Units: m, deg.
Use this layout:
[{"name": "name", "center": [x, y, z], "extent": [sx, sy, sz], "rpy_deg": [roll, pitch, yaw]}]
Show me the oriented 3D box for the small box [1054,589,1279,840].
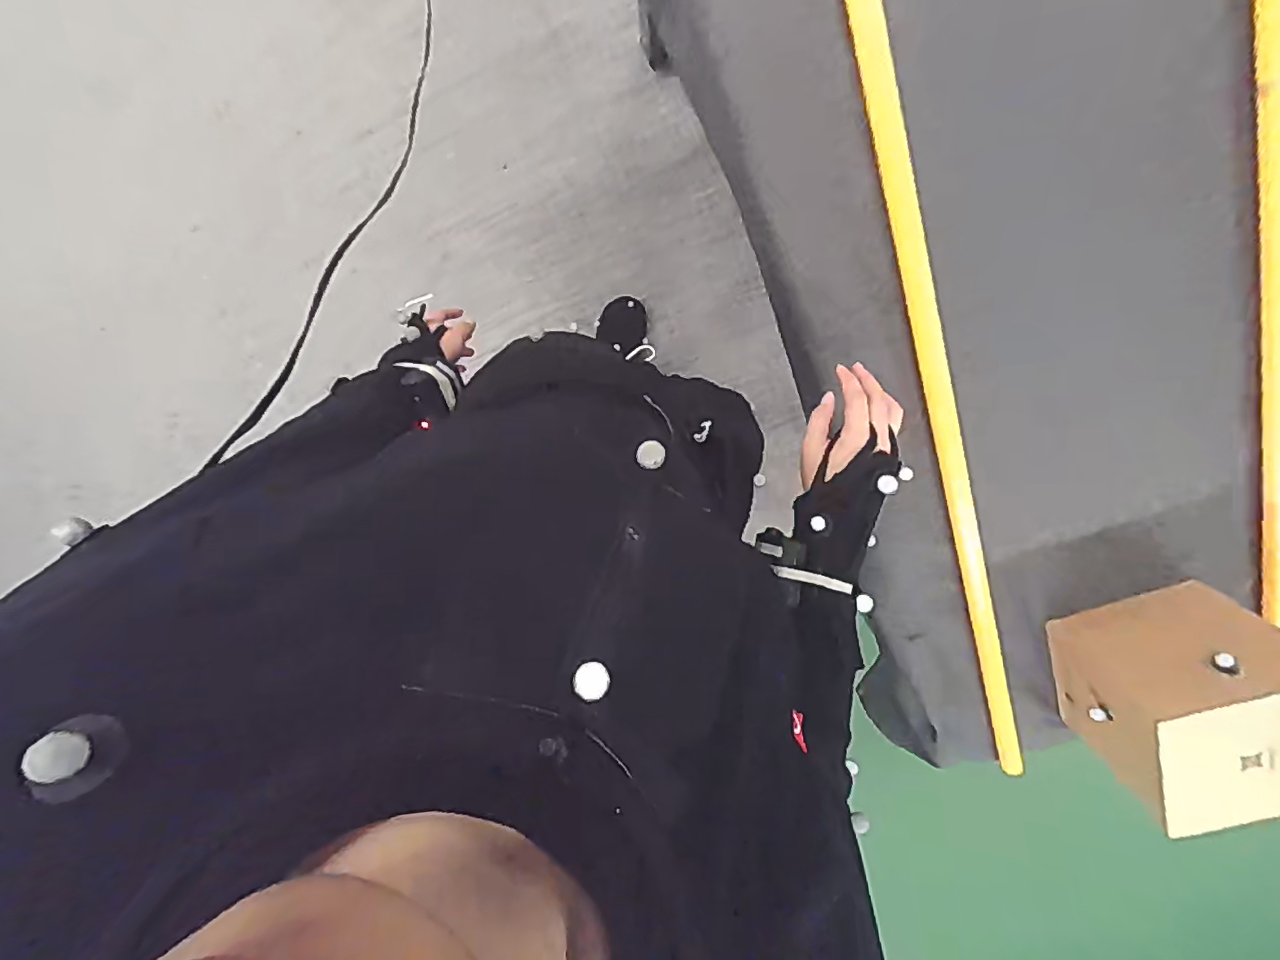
[{"name": "small box", "center": [0.605, 0.250, 0.604], "extent": [0.179, 0.176, 0.168], "rpy_deg": [-20, 107, 8]}]
